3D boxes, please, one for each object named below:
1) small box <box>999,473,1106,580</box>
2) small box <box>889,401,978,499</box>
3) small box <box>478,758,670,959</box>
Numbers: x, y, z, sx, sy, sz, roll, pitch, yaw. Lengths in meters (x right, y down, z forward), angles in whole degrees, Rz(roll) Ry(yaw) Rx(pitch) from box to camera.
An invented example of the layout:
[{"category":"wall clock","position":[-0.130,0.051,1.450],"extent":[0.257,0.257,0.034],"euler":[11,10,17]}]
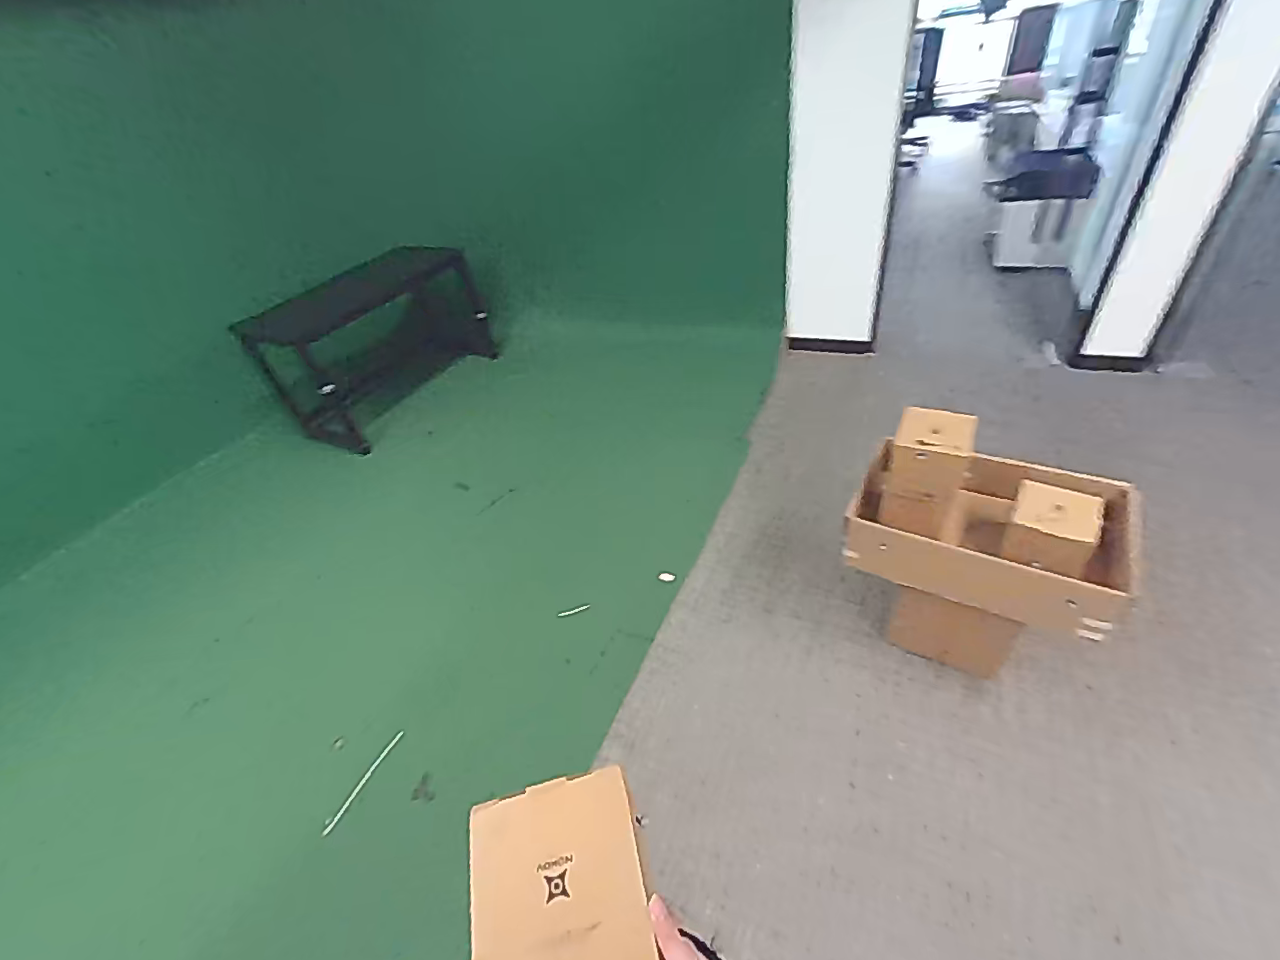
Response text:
[{"category":"small box","position":[1.033,0.115,1.362],"extent":[0.168,0.176,0.179],"euler":[20,51,33]},{"category":"small box","position":[0.759,-0.080,1.408],"extent":[0.168,0.176,0.179],"euler":[14,47,29]},{"category":"small box","position":[-0.068,0.437,0.589],"extent":[0.168,0.176,0.179],"euler":[-13,46,-3]}]
